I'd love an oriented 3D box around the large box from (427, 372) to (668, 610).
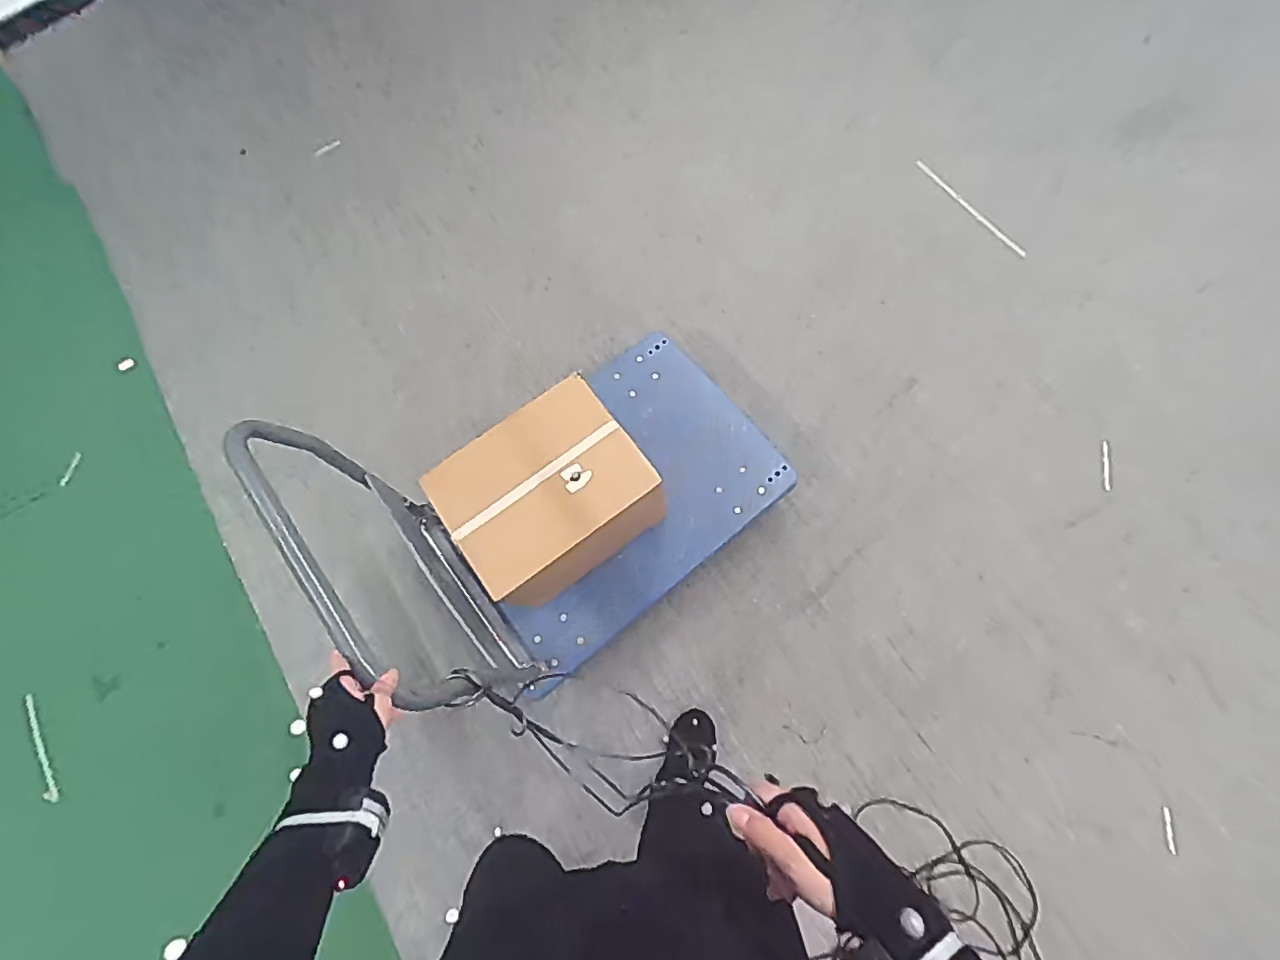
[{"bbox_3d":[-0.184,0.043,1.225,0.408,0.320,0.320,-35,74,-7],"label":"large box"}]
